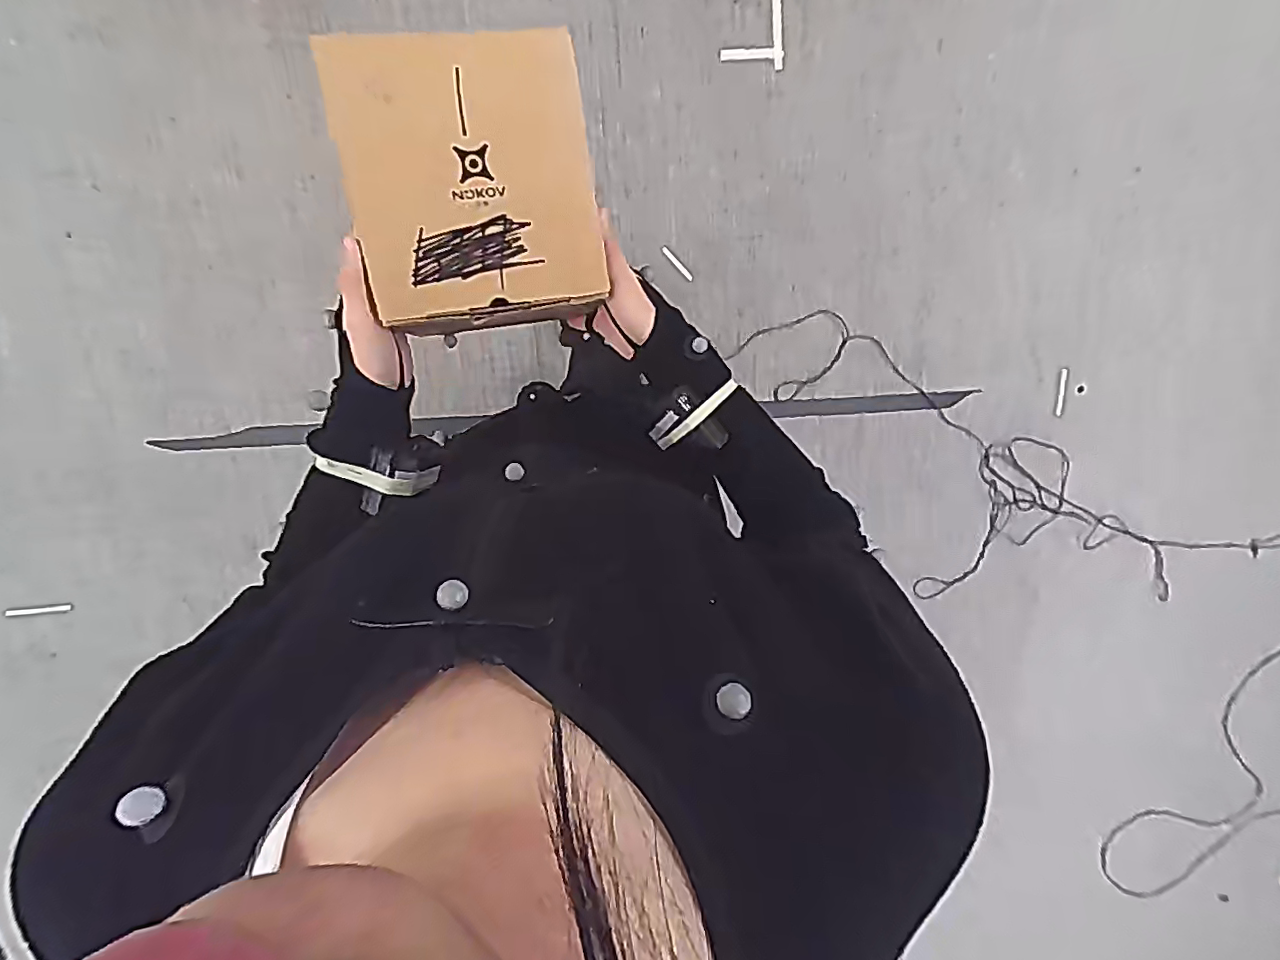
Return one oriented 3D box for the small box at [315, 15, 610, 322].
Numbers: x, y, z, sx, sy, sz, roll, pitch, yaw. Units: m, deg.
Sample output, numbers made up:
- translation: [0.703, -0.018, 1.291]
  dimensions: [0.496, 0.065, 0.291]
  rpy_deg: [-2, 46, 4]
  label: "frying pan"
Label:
- translation: [-0.129, -0.228, 0.441]
  dimensions: [0.168, 0.176, 0.179]
  rpy_deg: [-11, 103, -12]
  label: "small box"
